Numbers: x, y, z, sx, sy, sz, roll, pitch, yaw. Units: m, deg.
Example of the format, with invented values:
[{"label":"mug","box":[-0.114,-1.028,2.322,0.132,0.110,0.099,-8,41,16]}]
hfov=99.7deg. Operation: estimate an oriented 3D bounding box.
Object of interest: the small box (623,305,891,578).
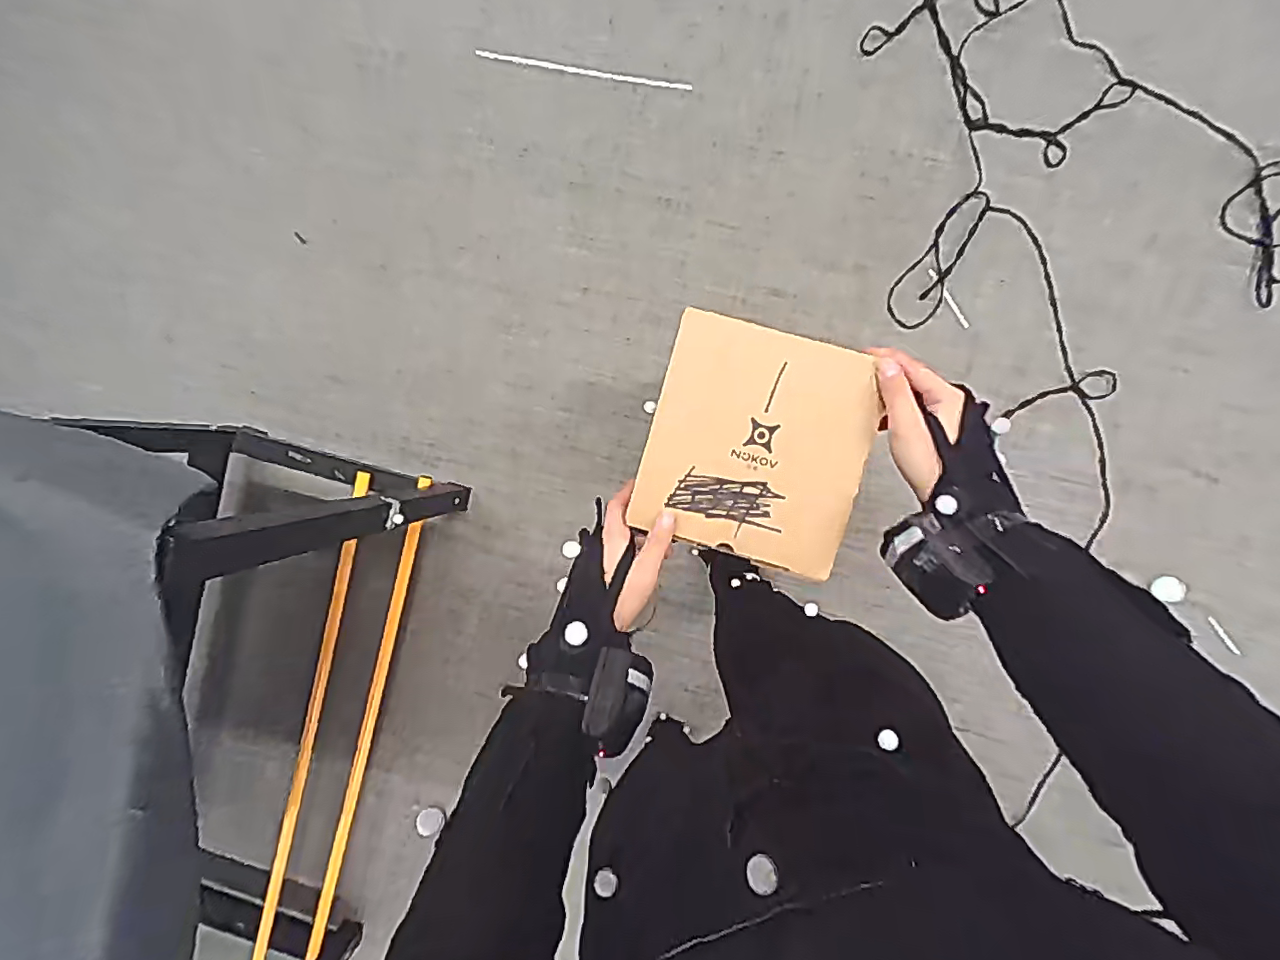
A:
[{"label":"small box","box":[0.094,-0.034,0.493,0.168,0.176,0.179,16,95,3]}]
